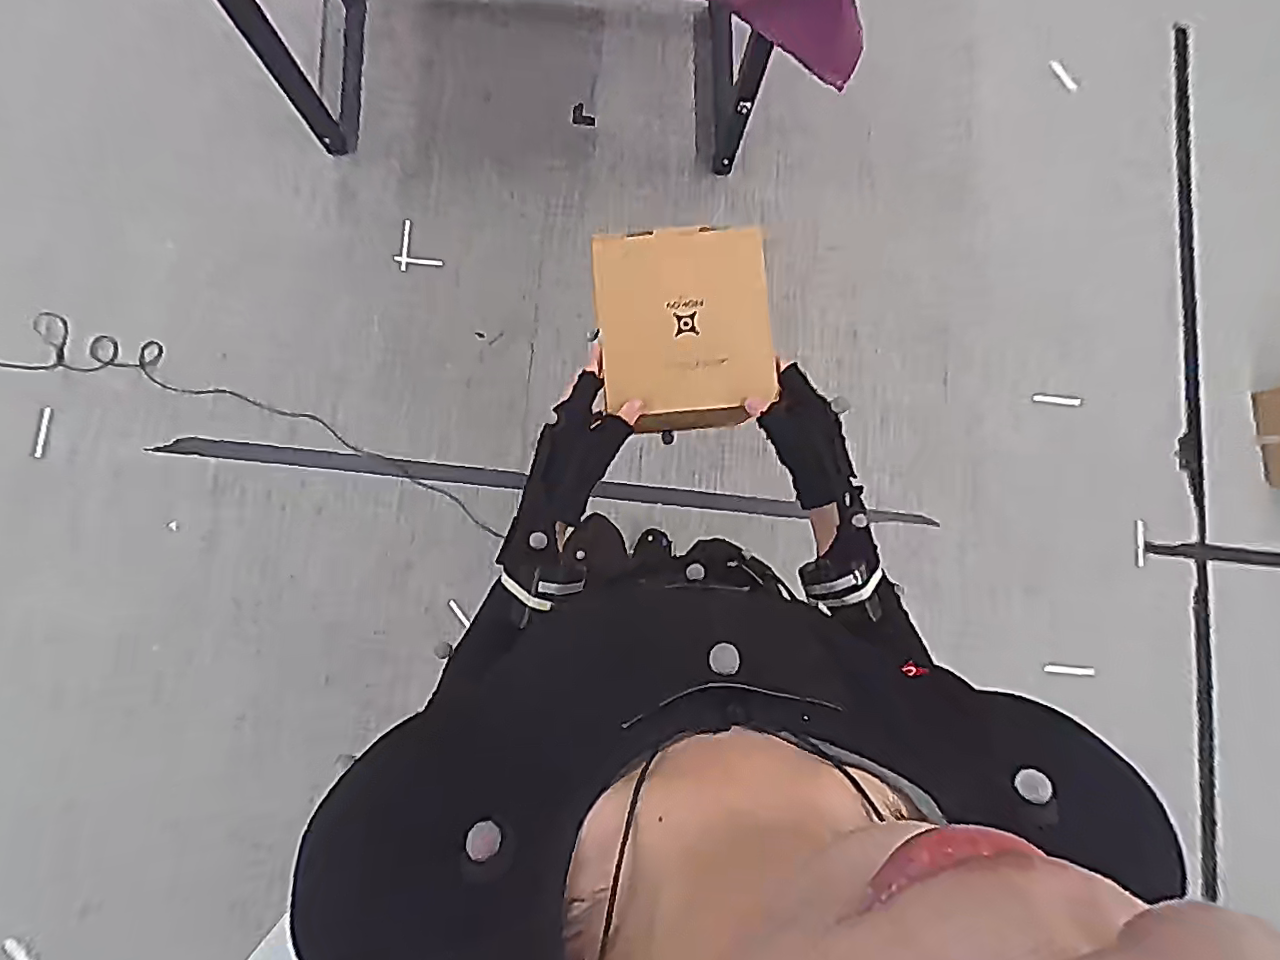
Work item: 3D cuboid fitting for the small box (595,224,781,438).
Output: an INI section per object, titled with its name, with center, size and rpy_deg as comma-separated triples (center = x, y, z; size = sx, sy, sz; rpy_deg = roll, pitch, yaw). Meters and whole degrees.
[small box]
center = 0.040, -0.149, 0.592
size = 0.168, 0.176, 0.179
rpy_deg = -7, 88, -4
